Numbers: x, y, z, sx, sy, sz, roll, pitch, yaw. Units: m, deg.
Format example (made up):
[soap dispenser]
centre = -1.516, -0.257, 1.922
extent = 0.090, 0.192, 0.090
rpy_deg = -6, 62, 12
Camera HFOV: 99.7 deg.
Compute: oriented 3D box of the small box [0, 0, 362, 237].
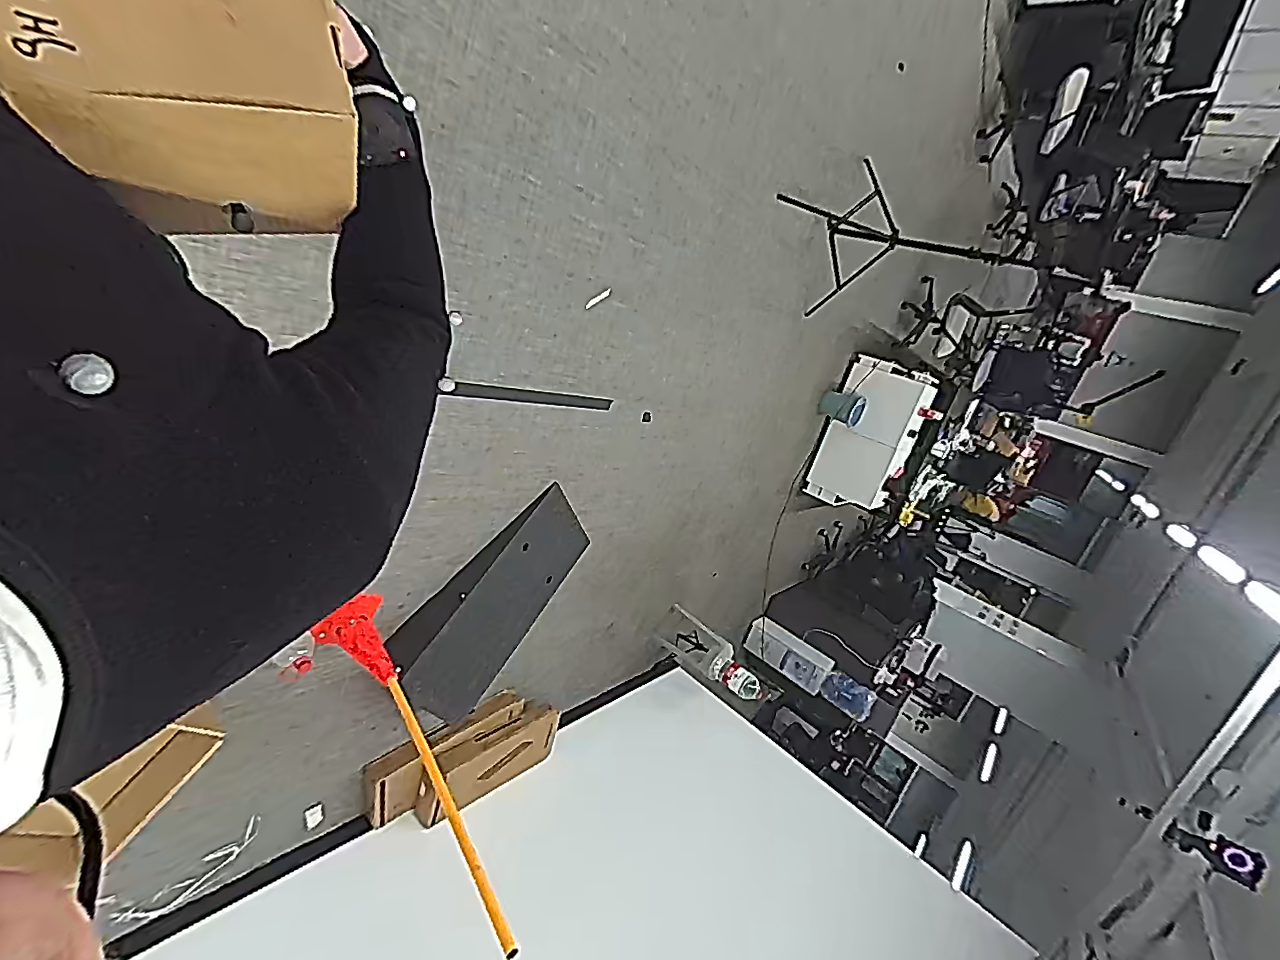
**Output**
[small box]
centre = -0.326, -0.301, 0.404
extent = 0.179, 0.176, 0.168
rpy_deg = -15, 92, -29
